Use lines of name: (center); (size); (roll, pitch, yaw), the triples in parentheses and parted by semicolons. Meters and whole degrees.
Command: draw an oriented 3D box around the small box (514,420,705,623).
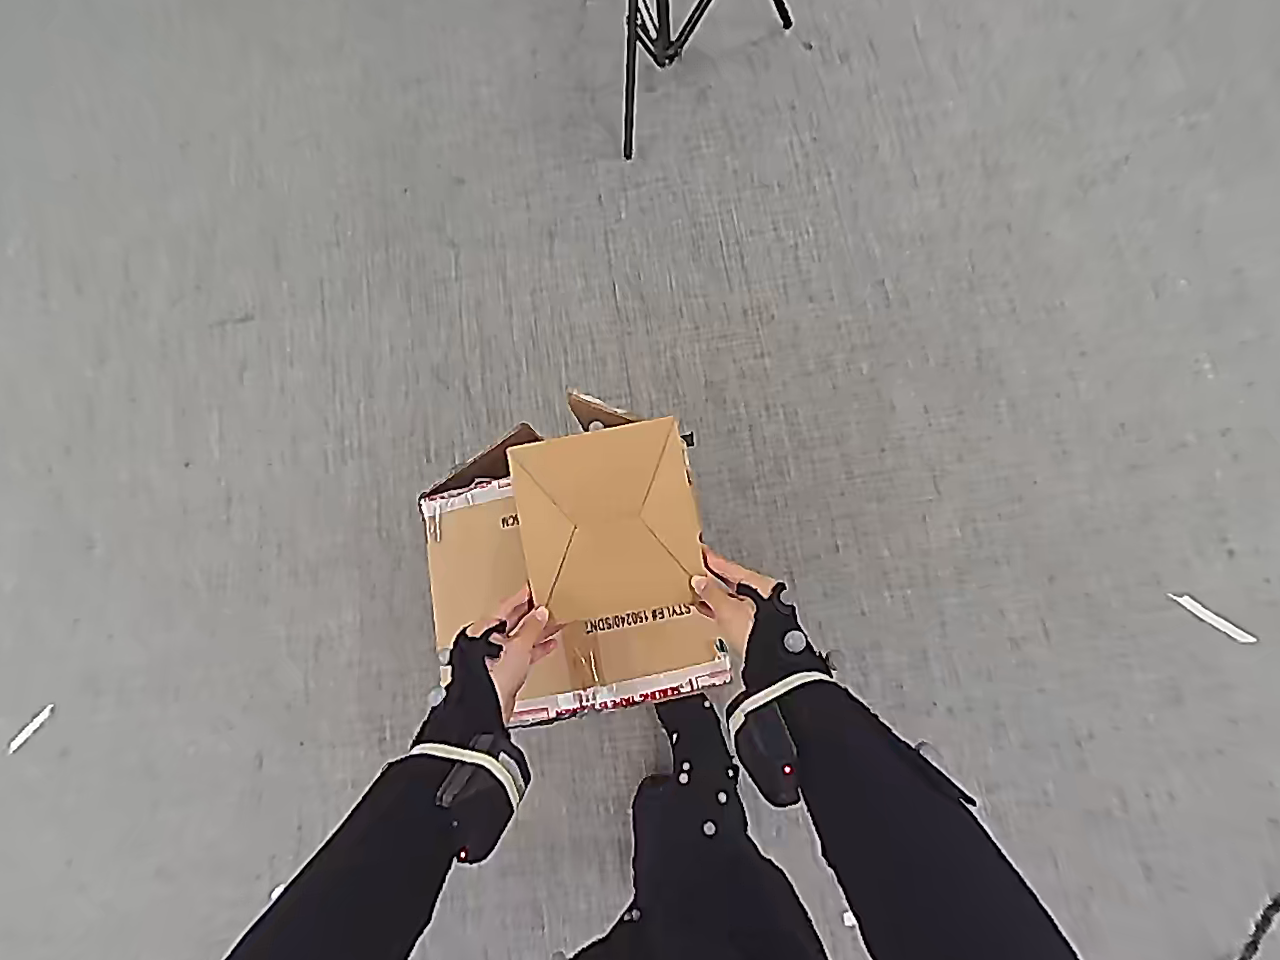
small box: (-0.025, 0.044, 0.589); (0.168, 0.176, 0.179); (-11, 88, 3)
